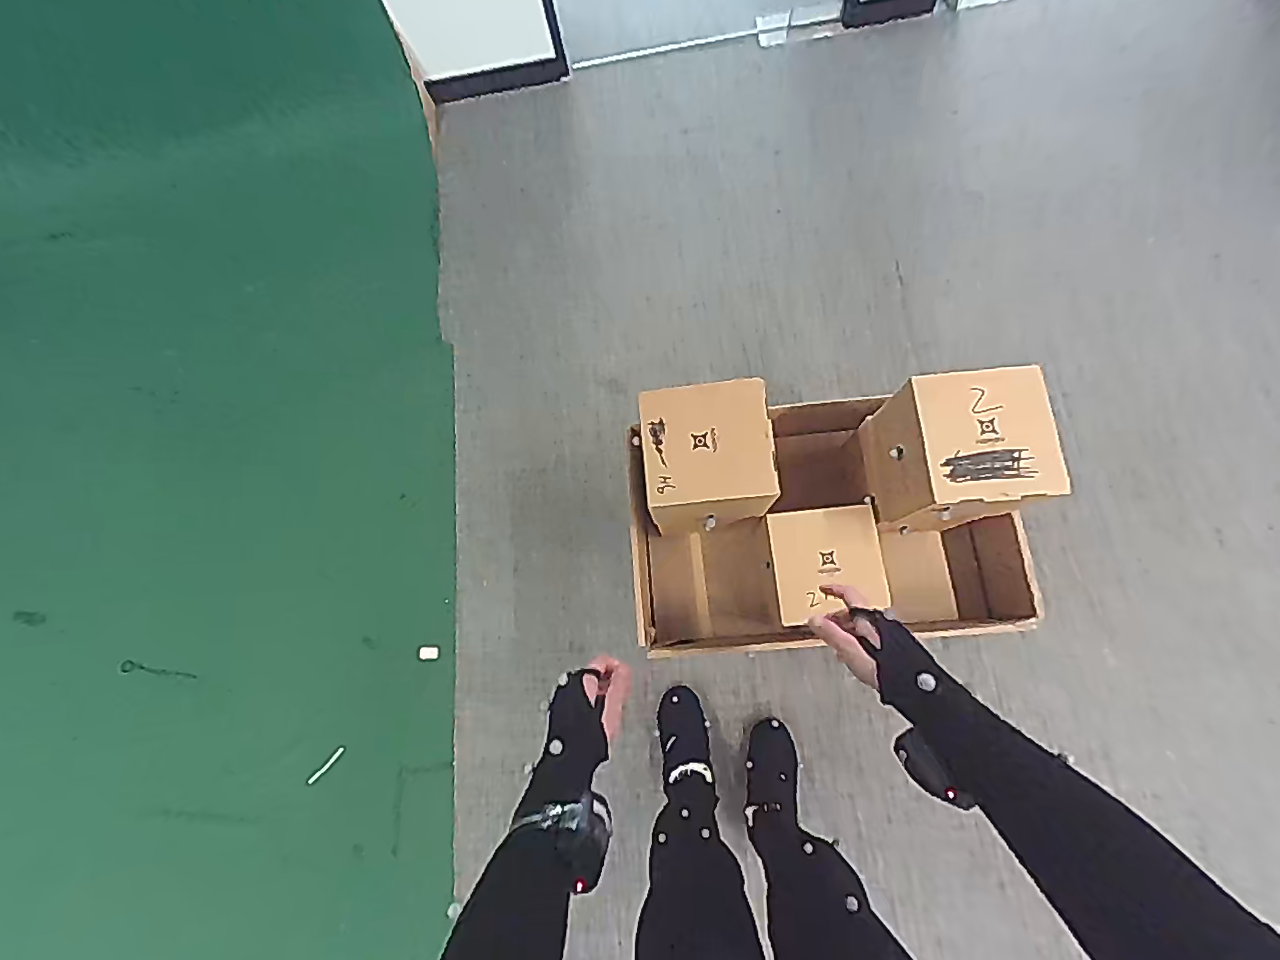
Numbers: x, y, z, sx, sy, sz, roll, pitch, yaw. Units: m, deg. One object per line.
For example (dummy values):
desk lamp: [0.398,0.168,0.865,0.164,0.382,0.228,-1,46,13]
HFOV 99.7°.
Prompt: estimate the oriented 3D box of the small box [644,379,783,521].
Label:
small box: [0.101,-0.036,0.800,0.179,0.176,0.168,-5,77,4]
